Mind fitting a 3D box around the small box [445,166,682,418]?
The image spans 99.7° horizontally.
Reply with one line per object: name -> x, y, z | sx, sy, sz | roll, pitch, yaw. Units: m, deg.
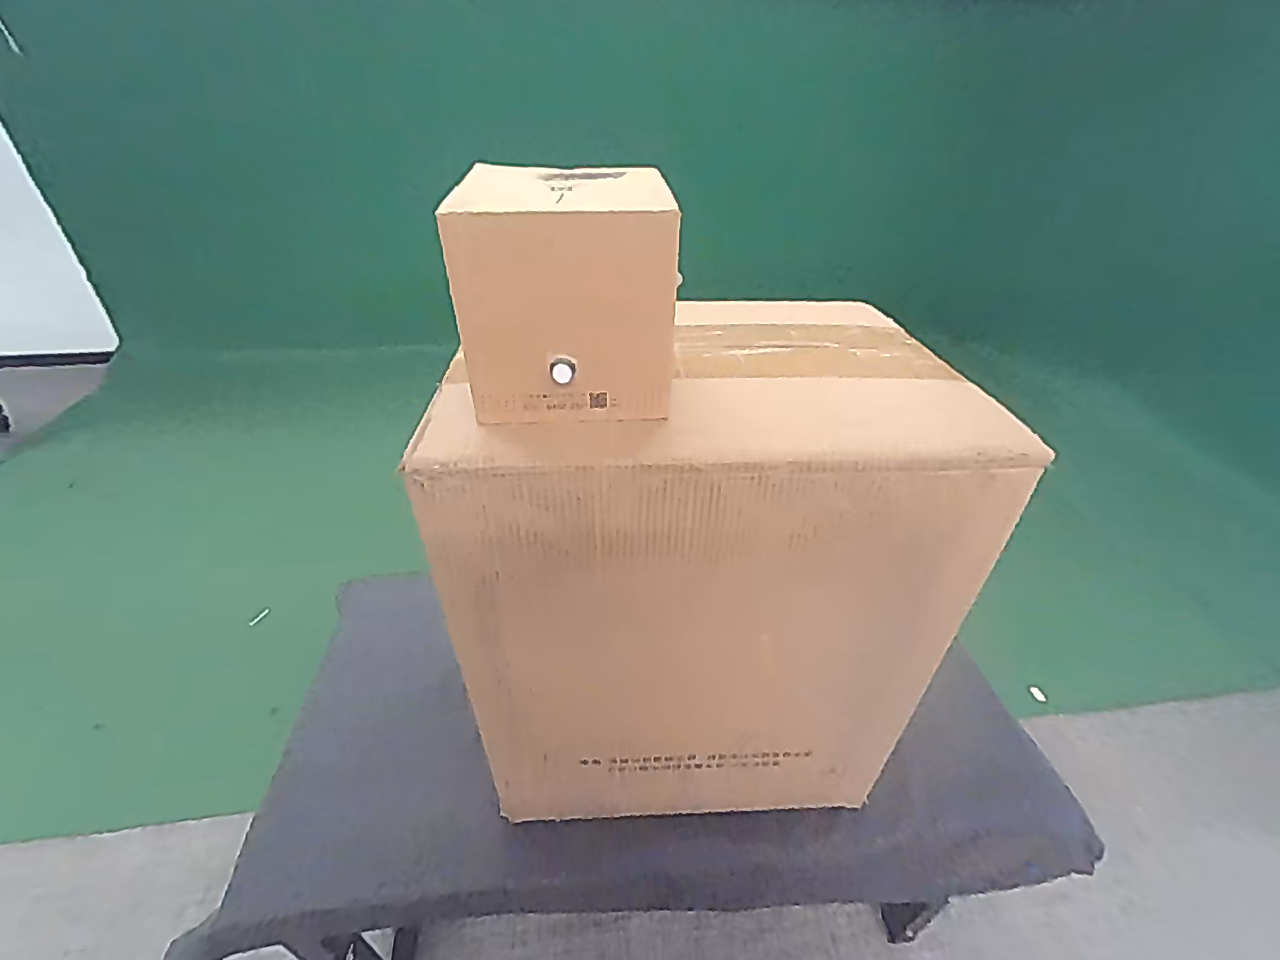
small box -> -0.058, -0.170, 0.483 | 0.168, 0.176, 0.179 | -2, 39, -3
